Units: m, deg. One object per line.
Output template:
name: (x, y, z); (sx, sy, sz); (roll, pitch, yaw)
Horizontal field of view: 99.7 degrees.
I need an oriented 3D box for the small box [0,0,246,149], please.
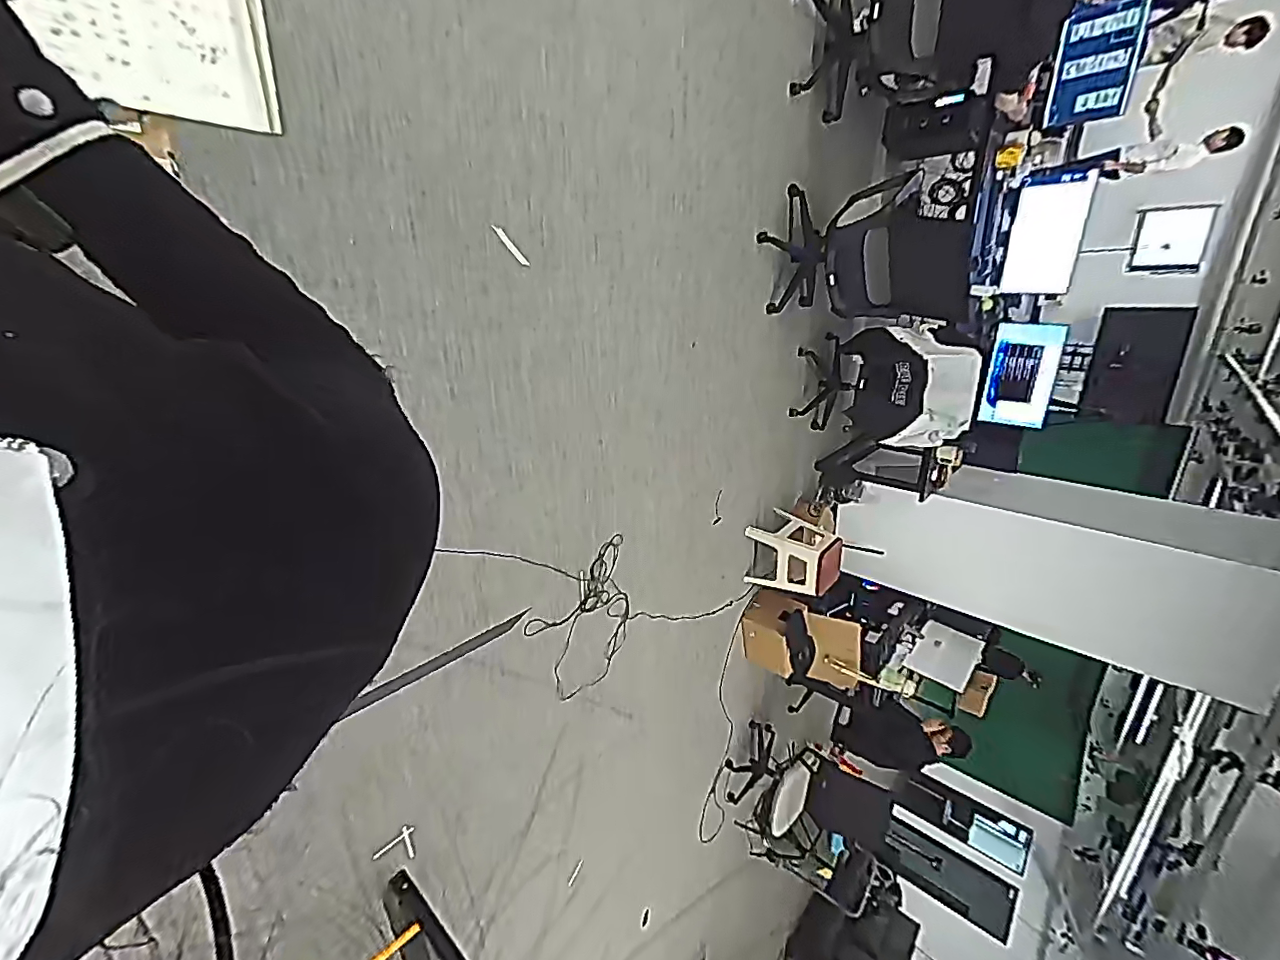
small box: (-0.515, -0.439, 0.514); (0.168, 0.176, 0.179); (-21, 120, -47)
